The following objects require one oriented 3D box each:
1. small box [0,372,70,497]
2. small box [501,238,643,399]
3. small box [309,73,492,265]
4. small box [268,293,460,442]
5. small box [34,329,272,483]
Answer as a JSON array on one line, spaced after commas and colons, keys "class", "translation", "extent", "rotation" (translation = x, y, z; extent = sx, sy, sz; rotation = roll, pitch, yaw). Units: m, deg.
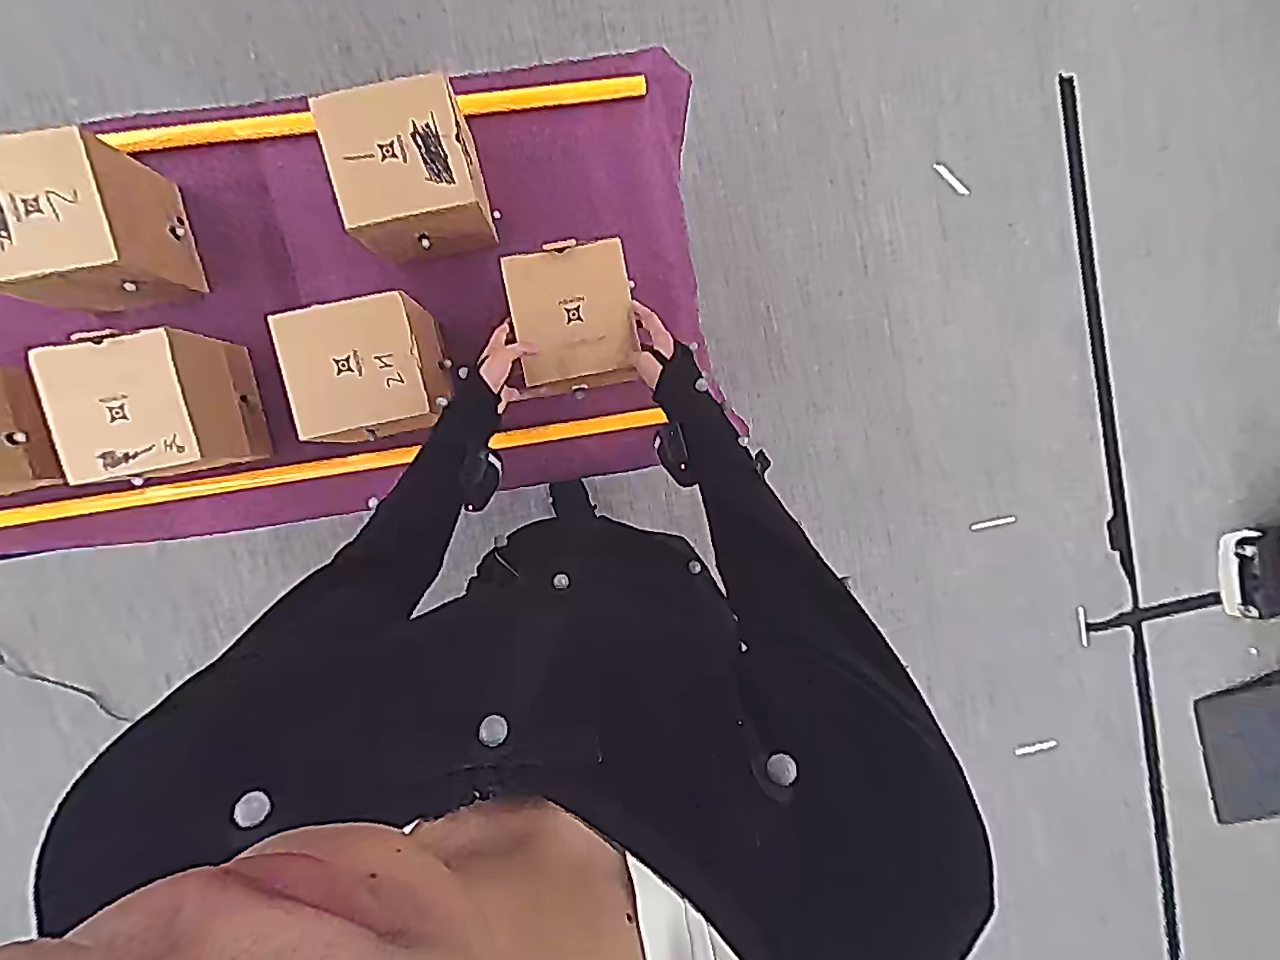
[{"class": "small box", "translation": [-0.940, -0.056, 0.741], "extent": [0.179, 0.176, 0.168], "rotation": [-12, 95, -4]}, {"class": "small box", "translation": [-0.095, -0.227, 0.799], "extent": [0.168, 0.176, 0.179], "rotation": [-11, 93, -2]}, {"class": "small box", "translation": [-0.319, -0.425, 0.766], "extent": [0.179, 0.176, 0.168], "rotation": [-14, 96, -3]}, {"class": "small box", "translation": [-0.383, -0.151, 0.781], "extent": [0.179, 0.176, 0.168], "rotation": [-12, 94, -3]}, {"class": "small box", "translation": [-0.664, -0.098, 0.763], "extent": [0.168, 0.176, 0.179], "rotation": [-11, 95, -3]}]
